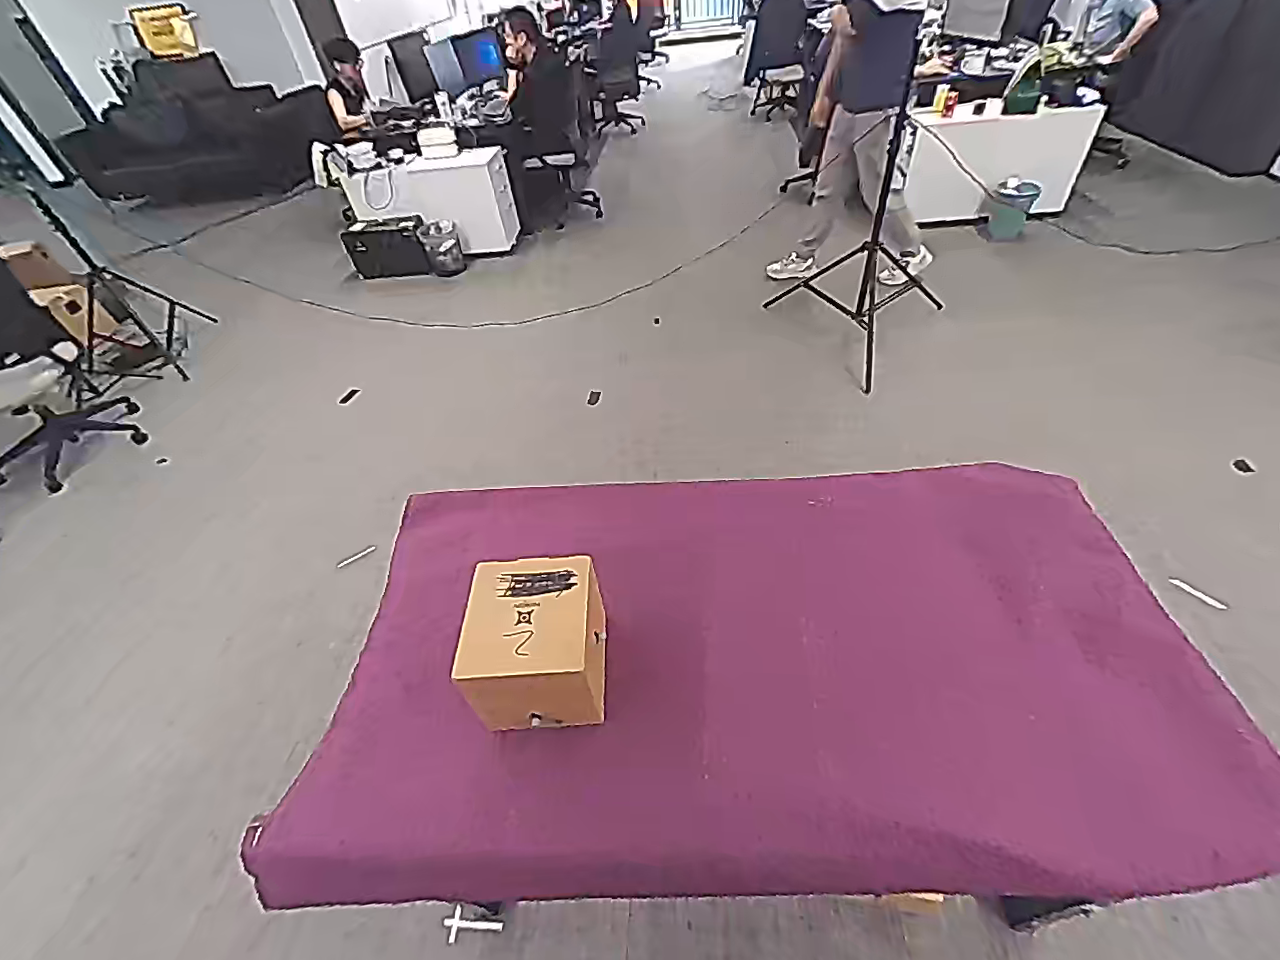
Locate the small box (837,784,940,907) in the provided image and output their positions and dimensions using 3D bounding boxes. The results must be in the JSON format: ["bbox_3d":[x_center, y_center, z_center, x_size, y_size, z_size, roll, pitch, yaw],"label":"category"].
[{"bbox_3d":[0.523,0.788,1.161,0.168,0.176,0.179,4,45,12],"label":"small box"}]
